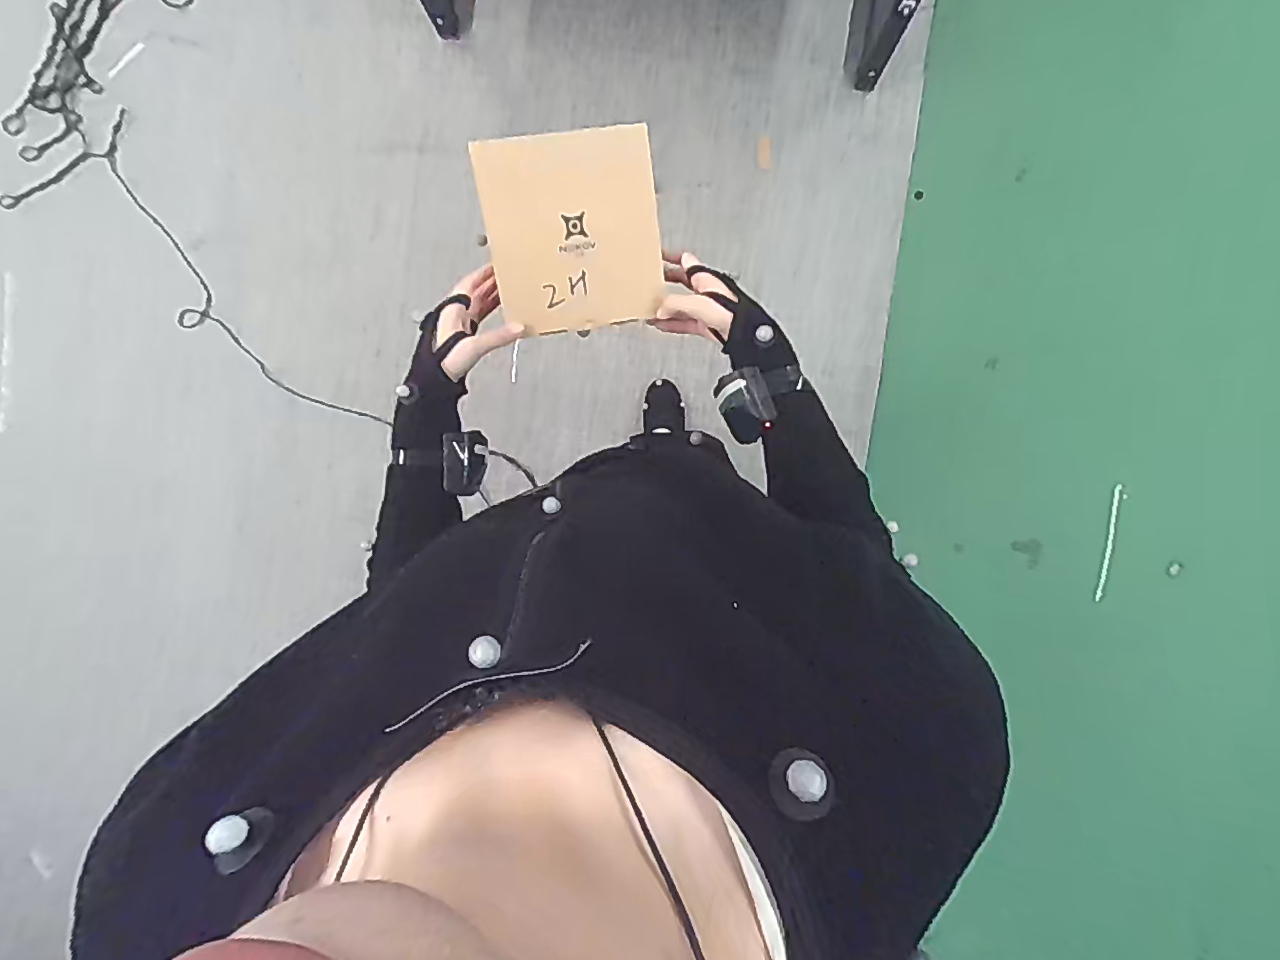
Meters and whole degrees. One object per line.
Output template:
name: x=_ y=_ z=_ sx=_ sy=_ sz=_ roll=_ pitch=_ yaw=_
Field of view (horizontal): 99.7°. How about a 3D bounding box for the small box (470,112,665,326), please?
small box: x=-0.076 y=-0.267 z=0.585 sx=0.168 sy=0.176 sz=0.179 roll=-9 pitch=110 yaw=-6
